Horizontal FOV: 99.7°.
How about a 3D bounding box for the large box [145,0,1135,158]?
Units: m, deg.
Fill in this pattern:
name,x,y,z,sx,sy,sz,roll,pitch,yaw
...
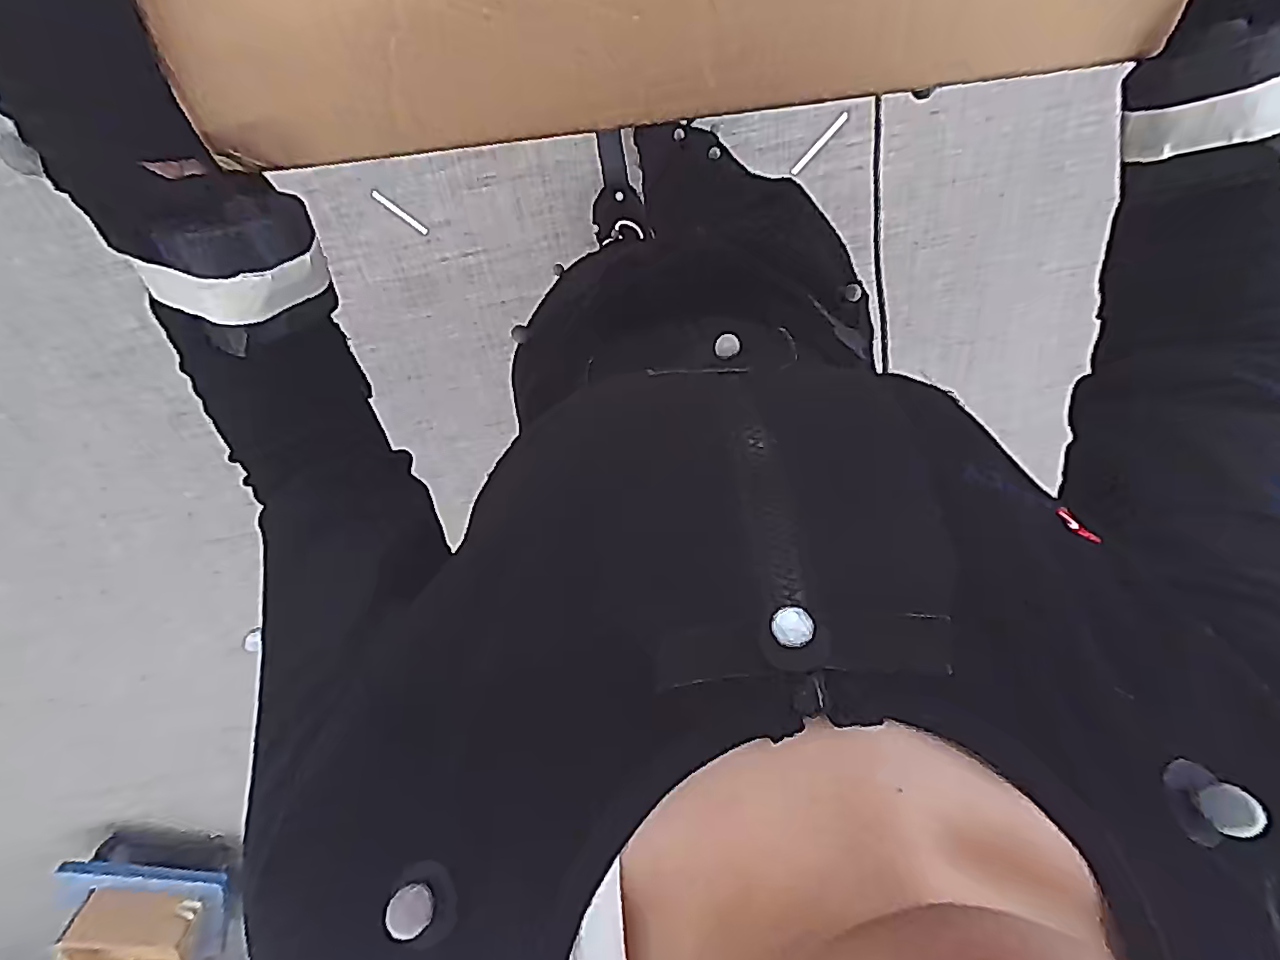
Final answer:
name,x,y,z,sx,sy,sz,roll,pitch,yaw
large box,-0.009,-0.380,0.232,0.408,0.320,0.320,-7,135,-1
